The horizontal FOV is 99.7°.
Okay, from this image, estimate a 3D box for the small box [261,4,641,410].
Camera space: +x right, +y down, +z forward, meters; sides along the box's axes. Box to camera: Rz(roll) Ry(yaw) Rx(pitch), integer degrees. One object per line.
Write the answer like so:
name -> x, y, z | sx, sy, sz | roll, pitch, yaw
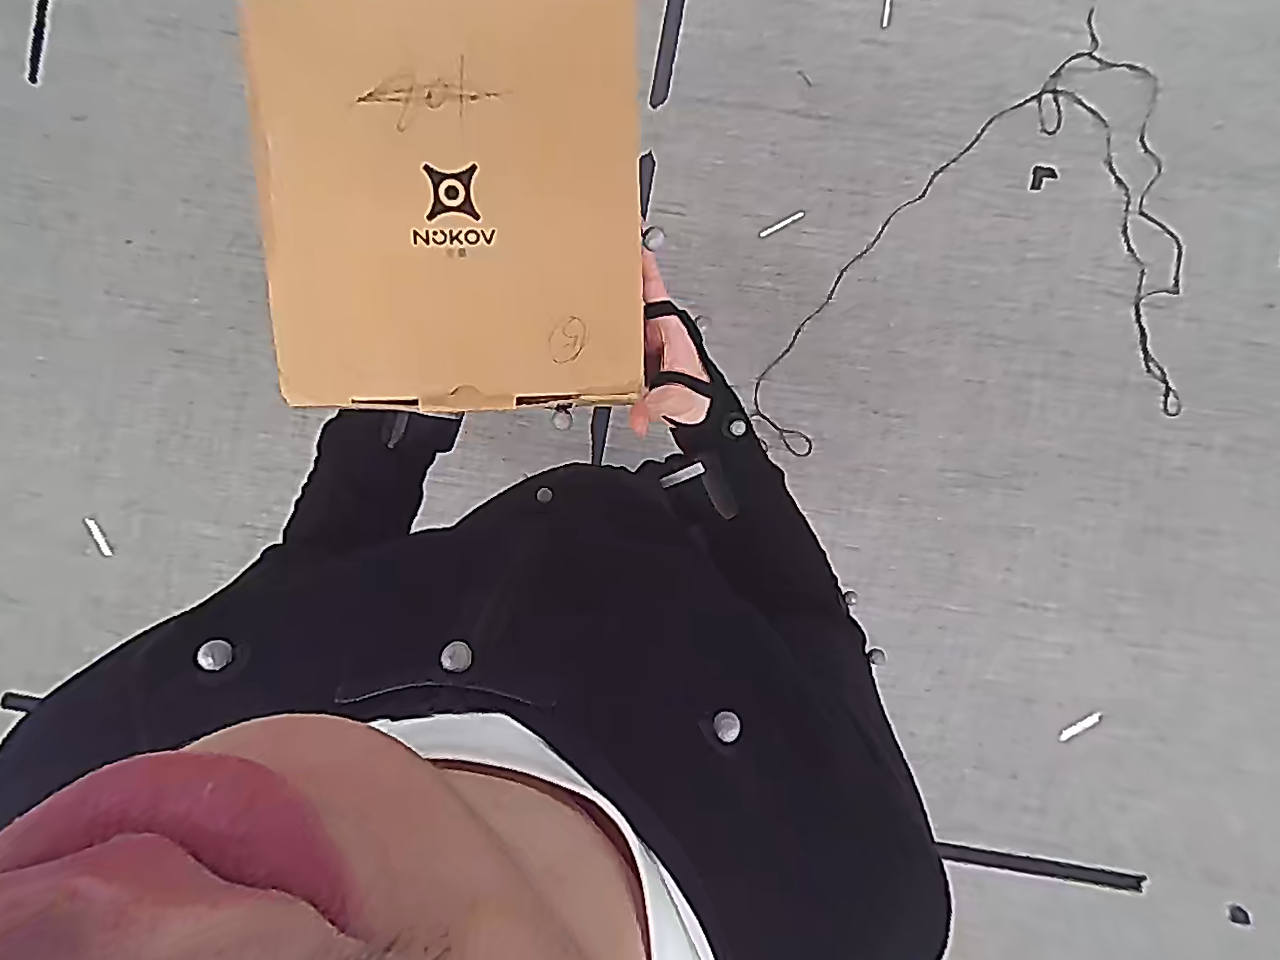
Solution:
small box -> -0.085, -0.133, 0.328 | 0.168, 0.176, 0.179 | -3, 96, -3
